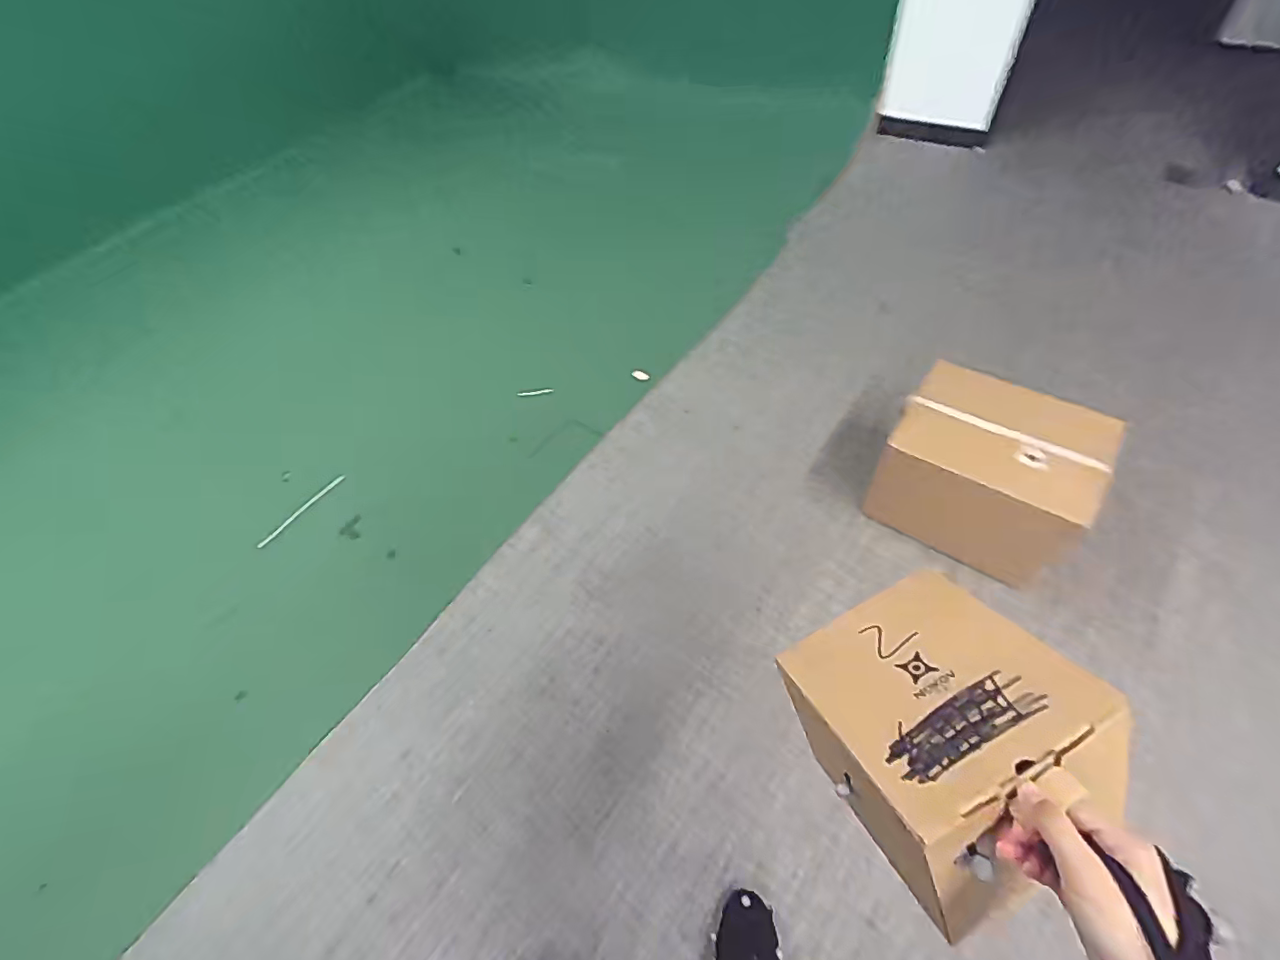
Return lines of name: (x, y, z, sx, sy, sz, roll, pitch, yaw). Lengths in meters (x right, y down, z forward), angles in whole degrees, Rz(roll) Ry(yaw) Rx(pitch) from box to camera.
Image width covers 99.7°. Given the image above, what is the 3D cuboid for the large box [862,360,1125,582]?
large box: (0.822, -0.022, 1.313, 0.408, 0.320, 0.320, 29, 66, 24)
